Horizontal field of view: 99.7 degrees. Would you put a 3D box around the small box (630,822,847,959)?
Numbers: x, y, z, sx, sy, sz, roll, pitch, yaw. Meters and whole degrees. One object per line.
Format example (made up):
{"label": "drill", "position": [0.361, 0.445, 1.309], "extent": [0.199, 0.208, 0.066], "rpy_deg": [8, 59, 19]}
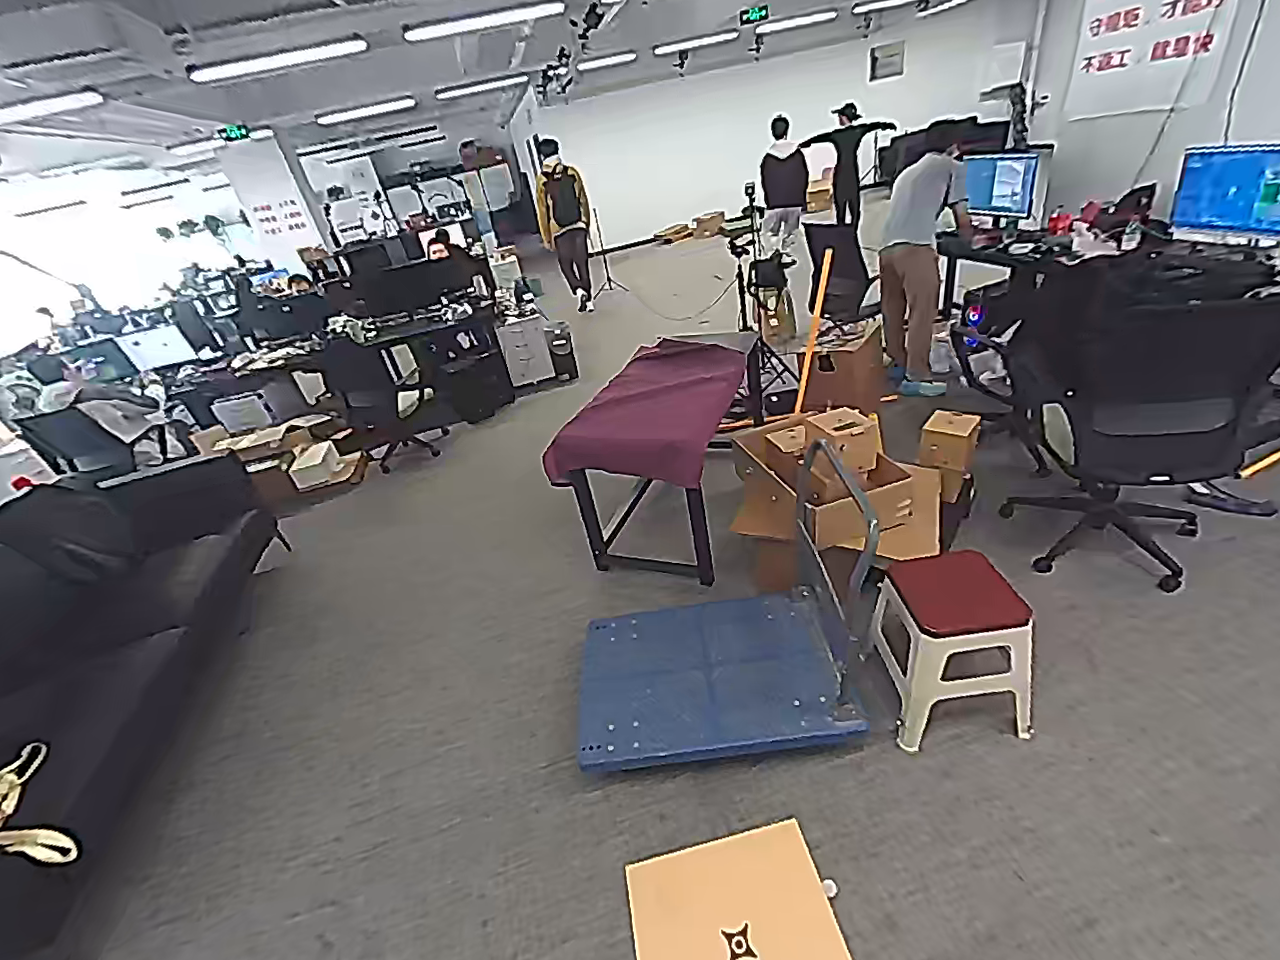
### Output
{"label": "small box", "position": [0.094, 0.450, 0.476], "extent": [0.168, 0.176, 0.179], "rpy_deg": [-14, 32, -2]}
